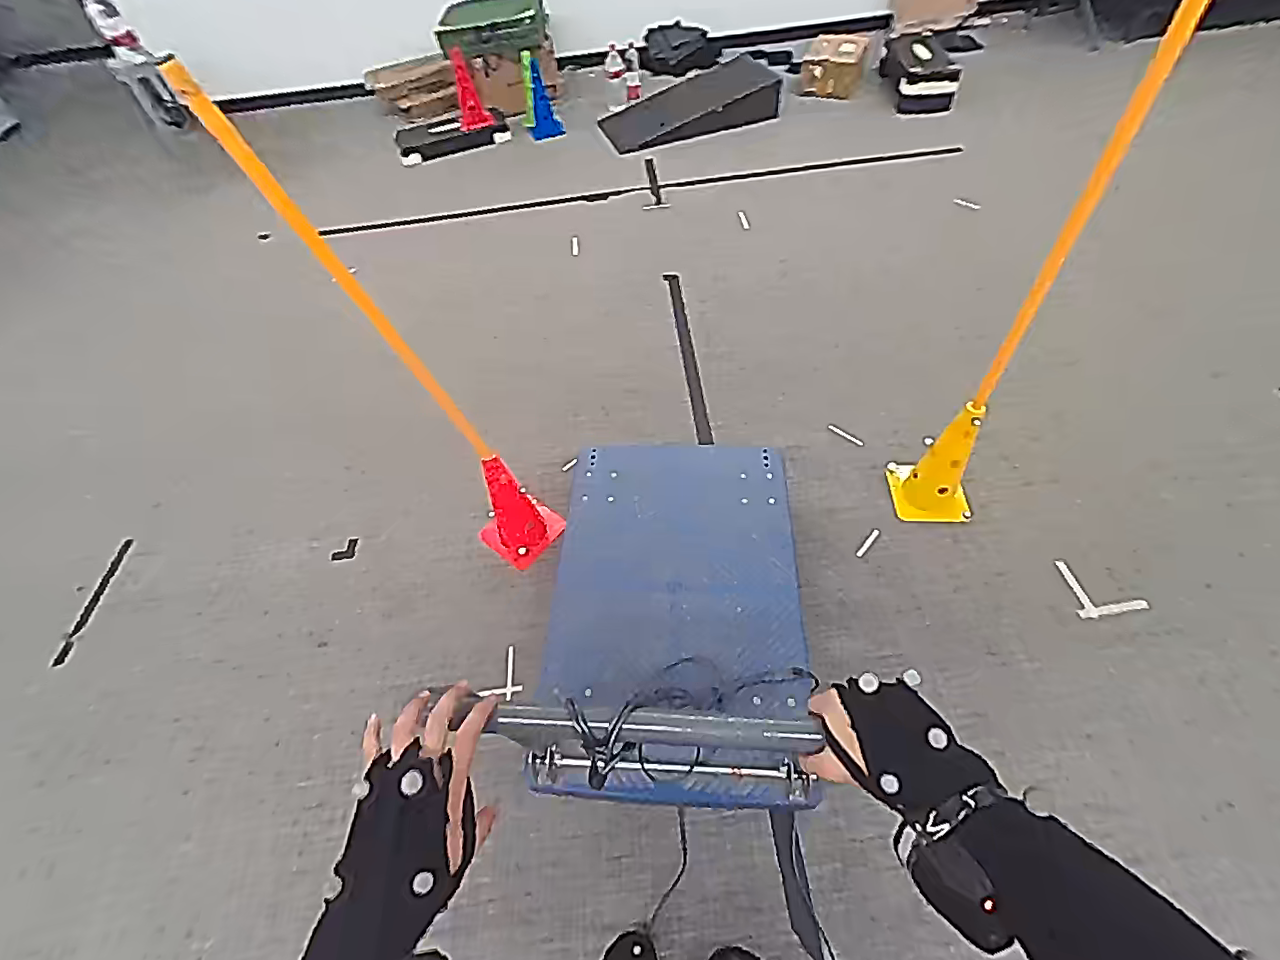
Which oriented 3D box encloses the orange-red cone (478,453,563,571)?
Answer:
[{"bbox_3d":[-0.360,0.052,1.460,0.198,0.360,0.199,32,61,25],"label":"orange-red cone"}]
